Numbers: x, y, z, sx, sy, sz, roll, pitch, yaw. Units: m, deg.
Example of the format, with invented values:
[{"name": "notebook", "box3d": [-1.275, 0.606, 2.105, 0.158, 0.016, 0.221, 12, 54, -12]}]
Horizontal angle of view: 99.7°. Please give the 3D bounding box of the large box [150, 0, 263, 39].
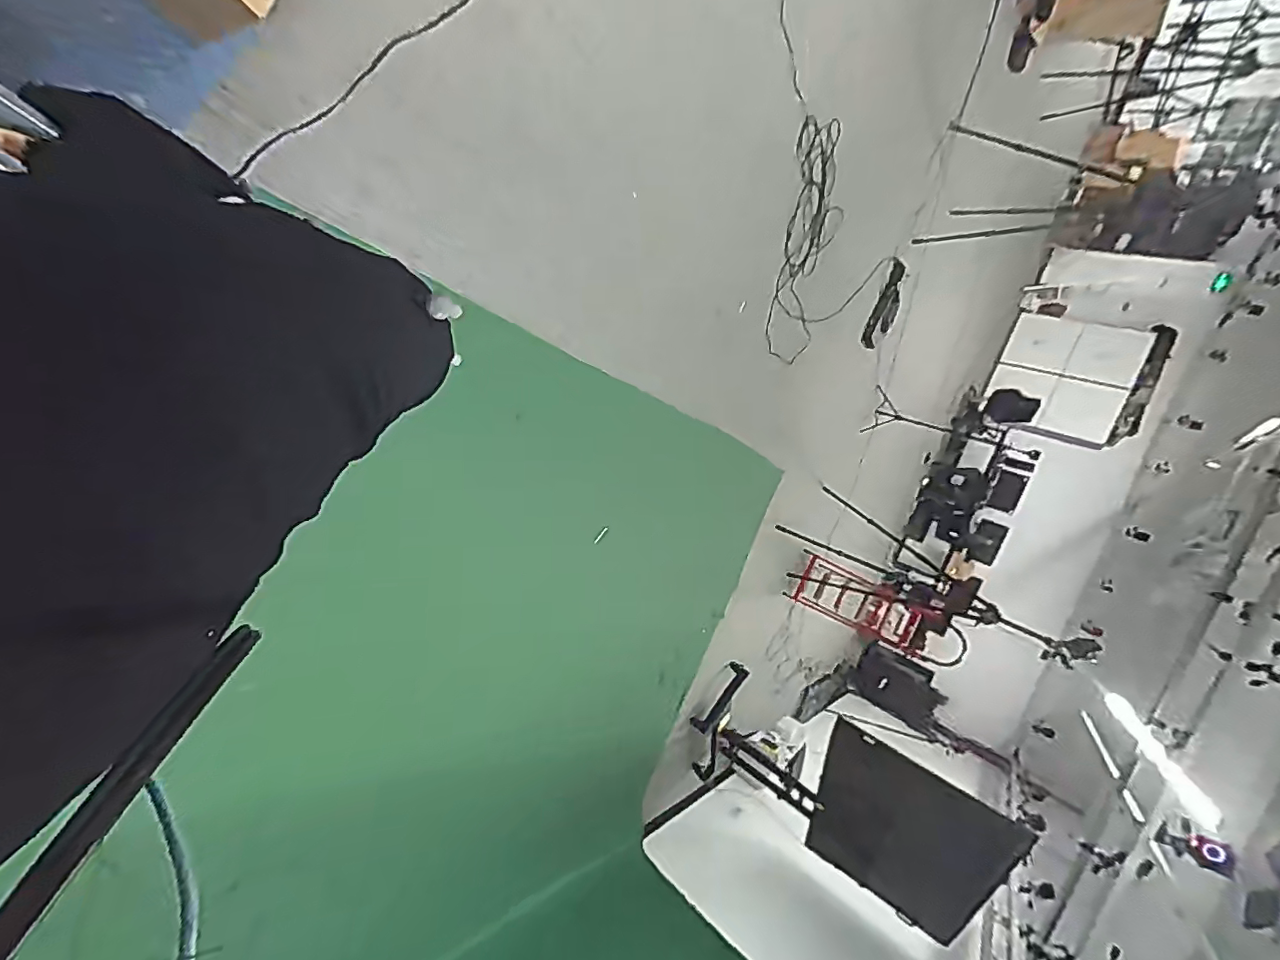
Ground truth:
[{"name": "large box", "box3d": [-0.646, -0.865, 0.654, 0.408, 0.320, 0.320, 34, 82, -53]}]
